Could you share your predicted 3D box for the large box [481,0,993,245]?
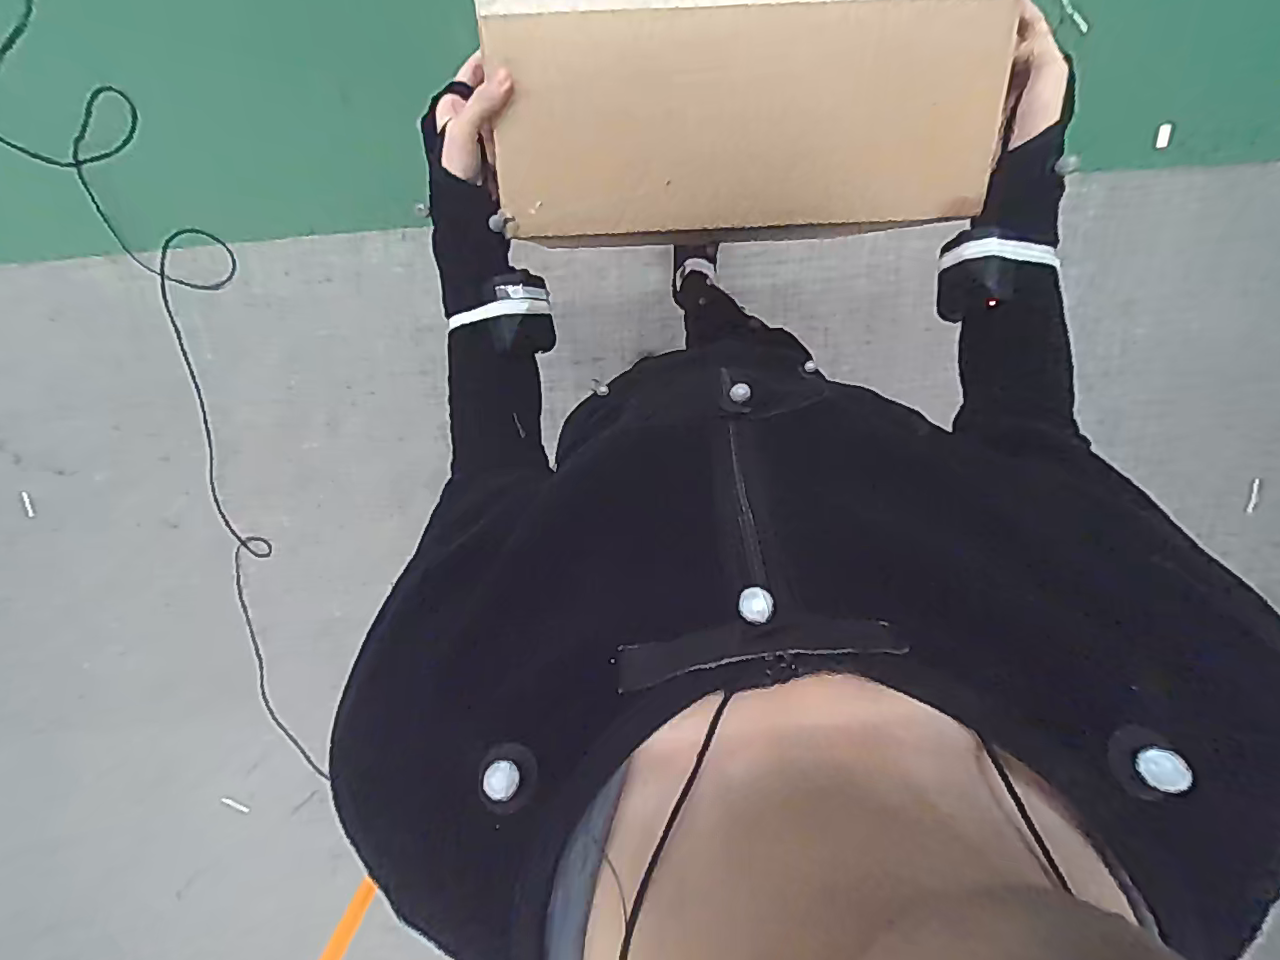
[{"bbox_3d":[0.074,-0.421,0.552,0.408,0.320,0.320,-3,111,-1],"label":"large box"}]
